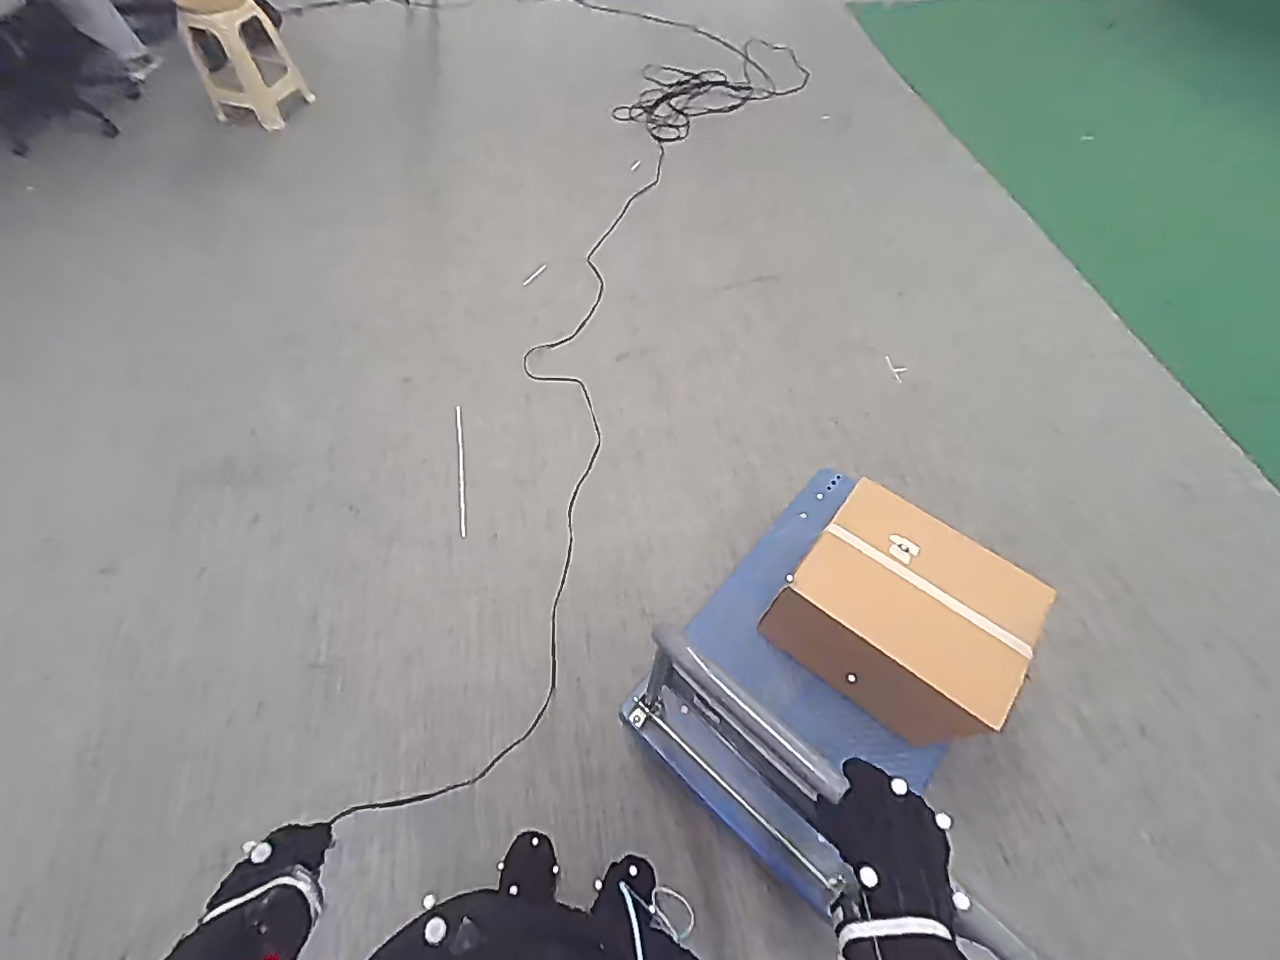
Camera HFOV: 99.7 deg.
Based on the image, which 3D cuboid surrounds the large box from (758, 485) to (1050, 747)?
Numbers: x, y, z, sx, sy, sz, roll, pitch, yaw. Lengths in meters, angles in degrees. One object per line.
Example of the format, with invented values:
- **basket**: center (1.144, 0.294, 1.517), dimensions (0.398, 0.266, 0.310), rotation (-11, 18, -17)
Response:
- **large box**: center (0.518, 0.290, 1.133), dimensions (0.408, 0.320, 0.320), rotation (34, 64, 19)
